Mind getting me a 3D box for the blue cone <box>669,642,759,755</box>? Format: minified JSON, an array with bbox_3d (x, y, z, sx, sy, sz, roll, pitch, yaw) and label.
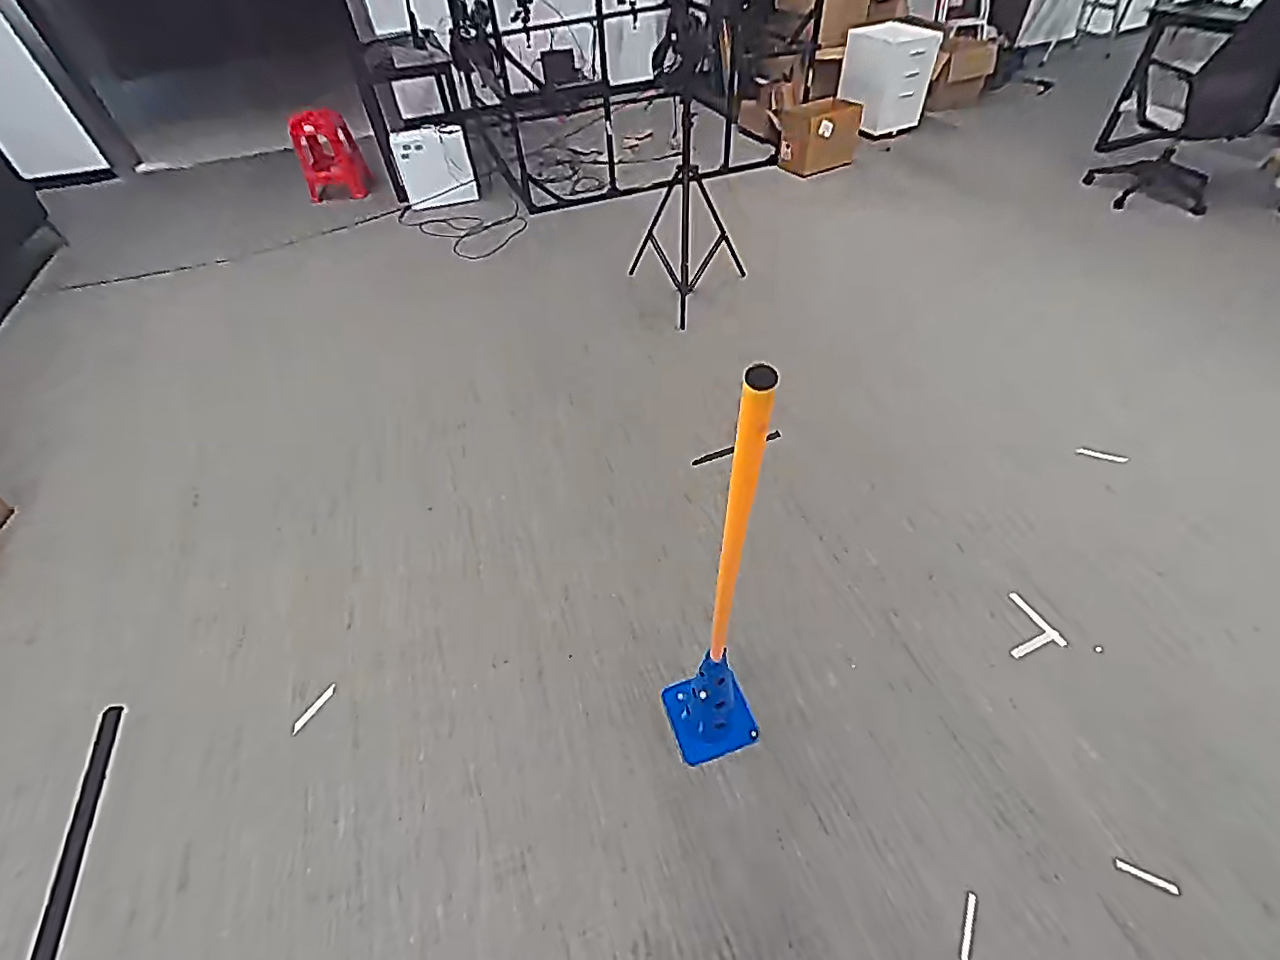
[{"bbox_3d":[0.174,0.473,1.248,0.192,0.380,0.193,-15,49,-9],"label":"blue cone"}]
